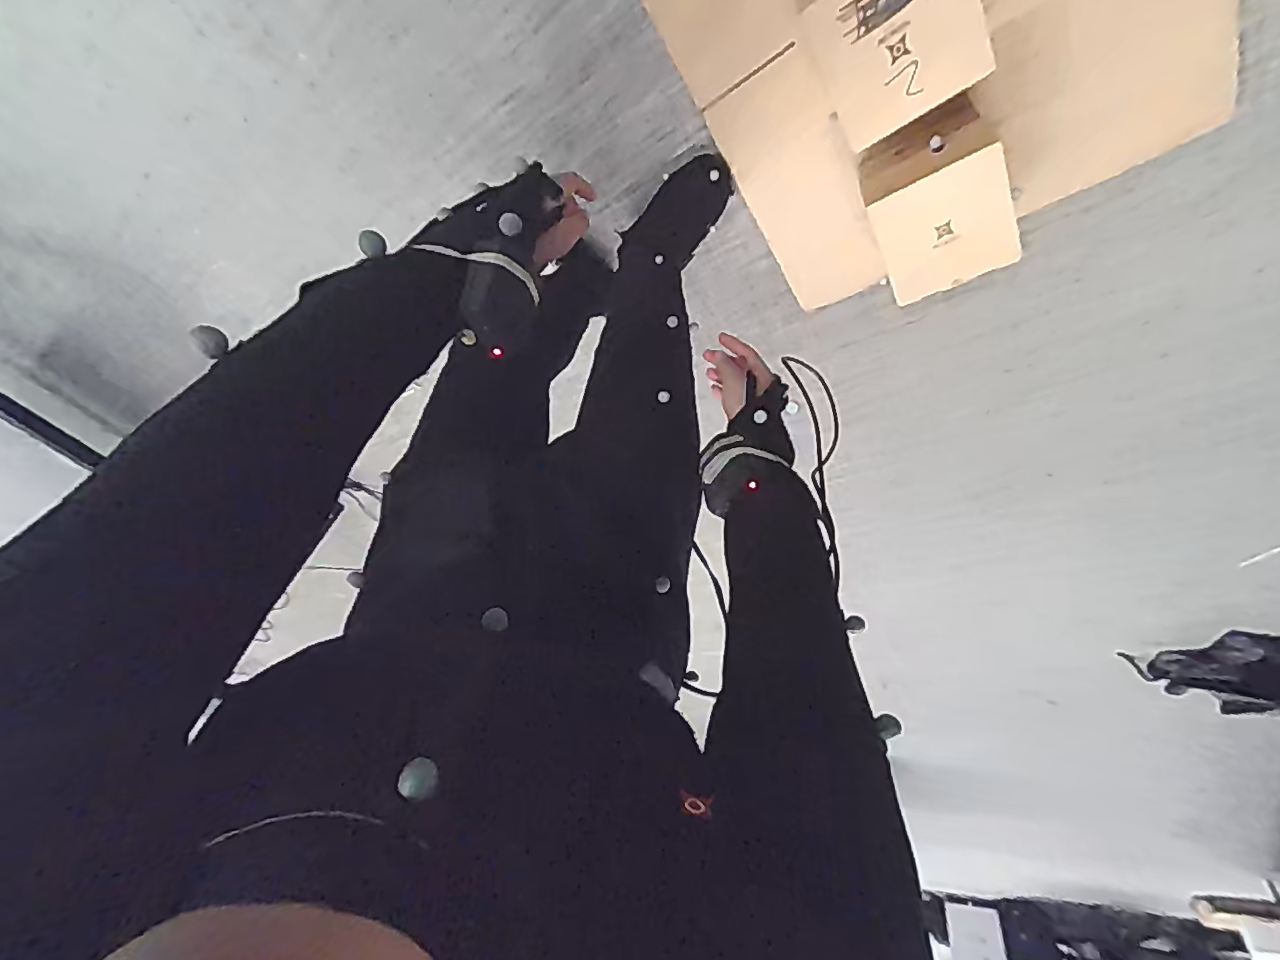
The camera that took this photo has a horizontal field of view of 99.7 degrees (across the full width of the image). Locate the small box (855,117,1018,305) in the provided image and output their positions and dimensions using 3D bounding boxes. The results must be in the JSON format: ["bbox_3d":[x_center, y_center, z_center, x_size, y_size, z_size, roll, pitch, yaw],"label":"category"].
[{"bbox_3d":[0.433,-0.403,0.806,0.168,0.176,0.179,-17,130,31],"label":"small box"}]
